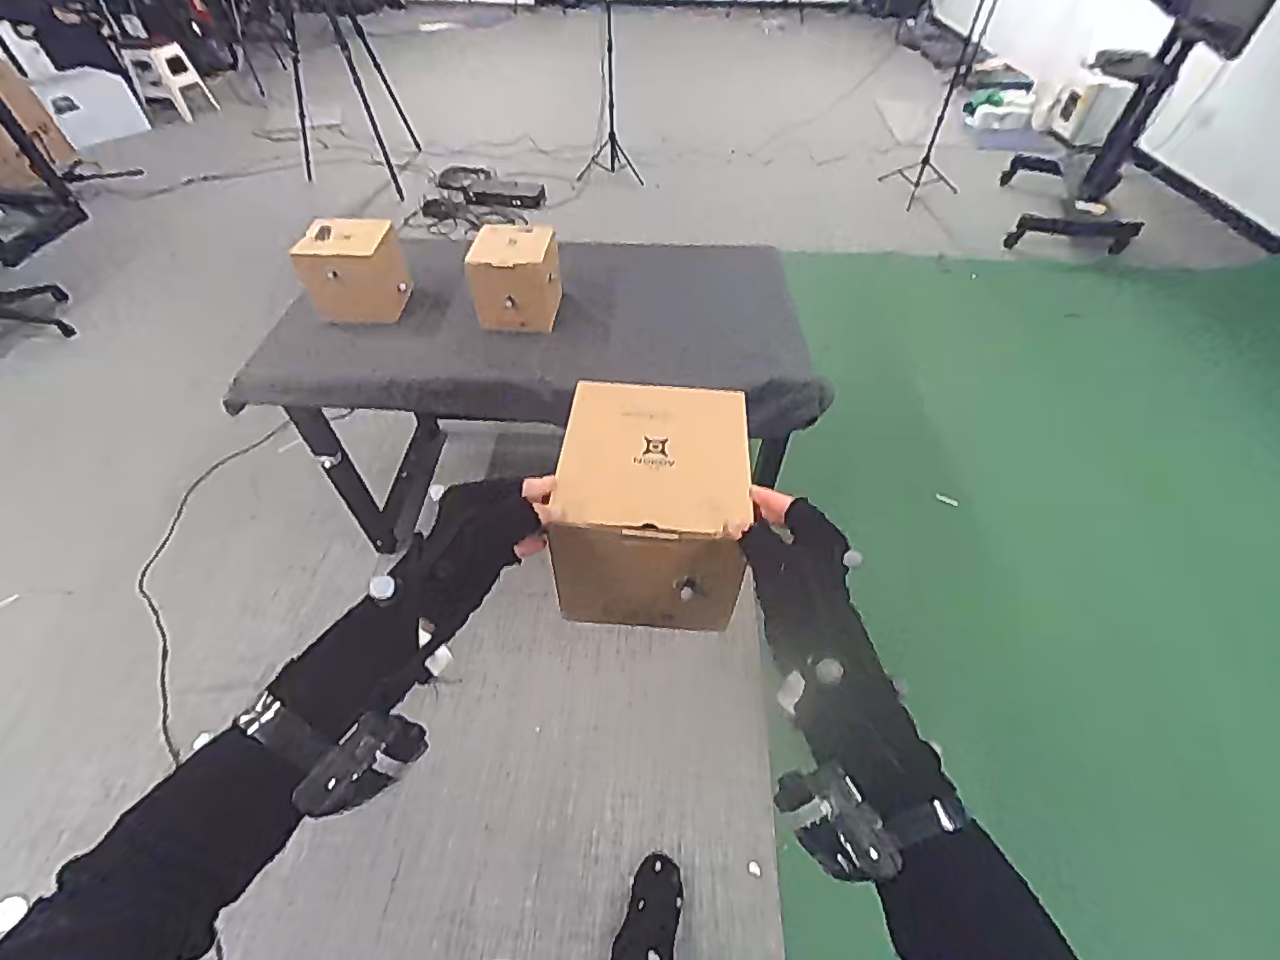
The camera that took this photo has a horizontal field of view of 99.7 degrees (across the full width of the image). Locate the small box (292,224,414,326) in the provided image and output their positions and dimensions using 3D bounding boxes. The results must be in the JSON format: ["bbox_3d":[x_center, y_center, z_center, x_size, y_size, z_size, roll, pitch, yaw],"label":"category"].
[{"bbox_3d":[-0.650,-0.471,1.249,0.179,0.176,0.168,0,49,-2],"label":"small box"}]

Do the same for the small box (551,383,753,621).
[{"bbox_3d":[0.014,0.025,0.544,0.168,0.176,0.179,3,48,1],"label":"small box"}]

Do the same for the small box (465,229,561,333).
[{"bbox_3d":[-0.280,-0.454,1.239,0.168,0.176,0.179,3,50,2],"label":"small box"}]
